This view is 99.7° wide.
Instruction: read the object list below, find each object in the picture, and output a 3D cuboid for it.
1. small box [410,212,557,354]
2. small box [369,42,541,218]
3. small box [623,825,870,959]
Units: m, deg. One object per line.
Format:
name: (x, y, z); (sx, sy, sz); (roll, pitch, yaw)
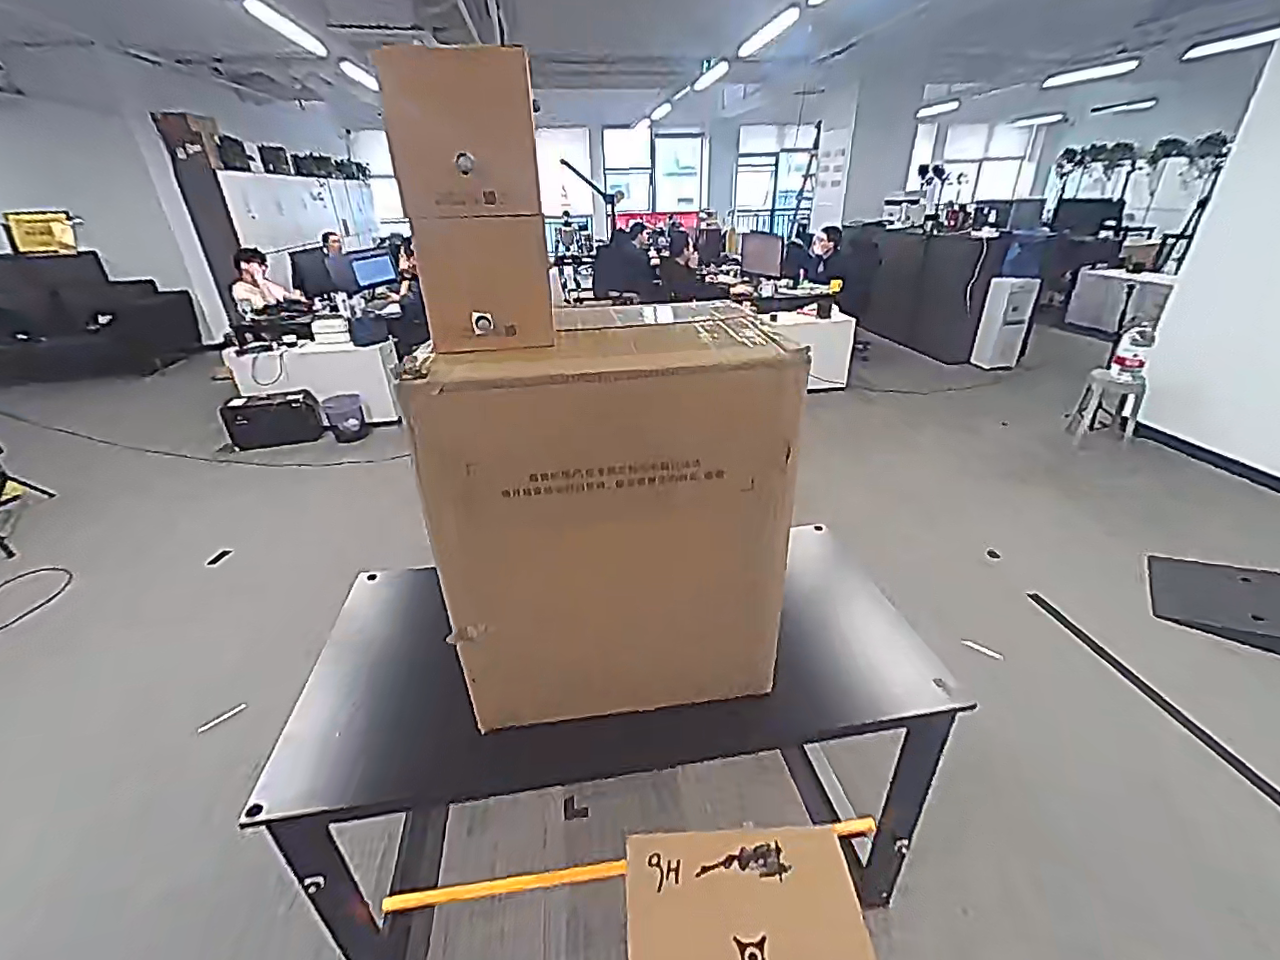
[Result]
small box: (-0.213, -0.285, 0.768); (0.168, 0.176, 0.179); (-8, 31, -11)
small box: (-0.219, -0.429, 0.686); (0.168, 0.176, 0.179); (-7, 29, -9)
small box: (0.073, 0.388, 0.397); (0.168, 0.176, 0.179); (-2, 34, -1)
